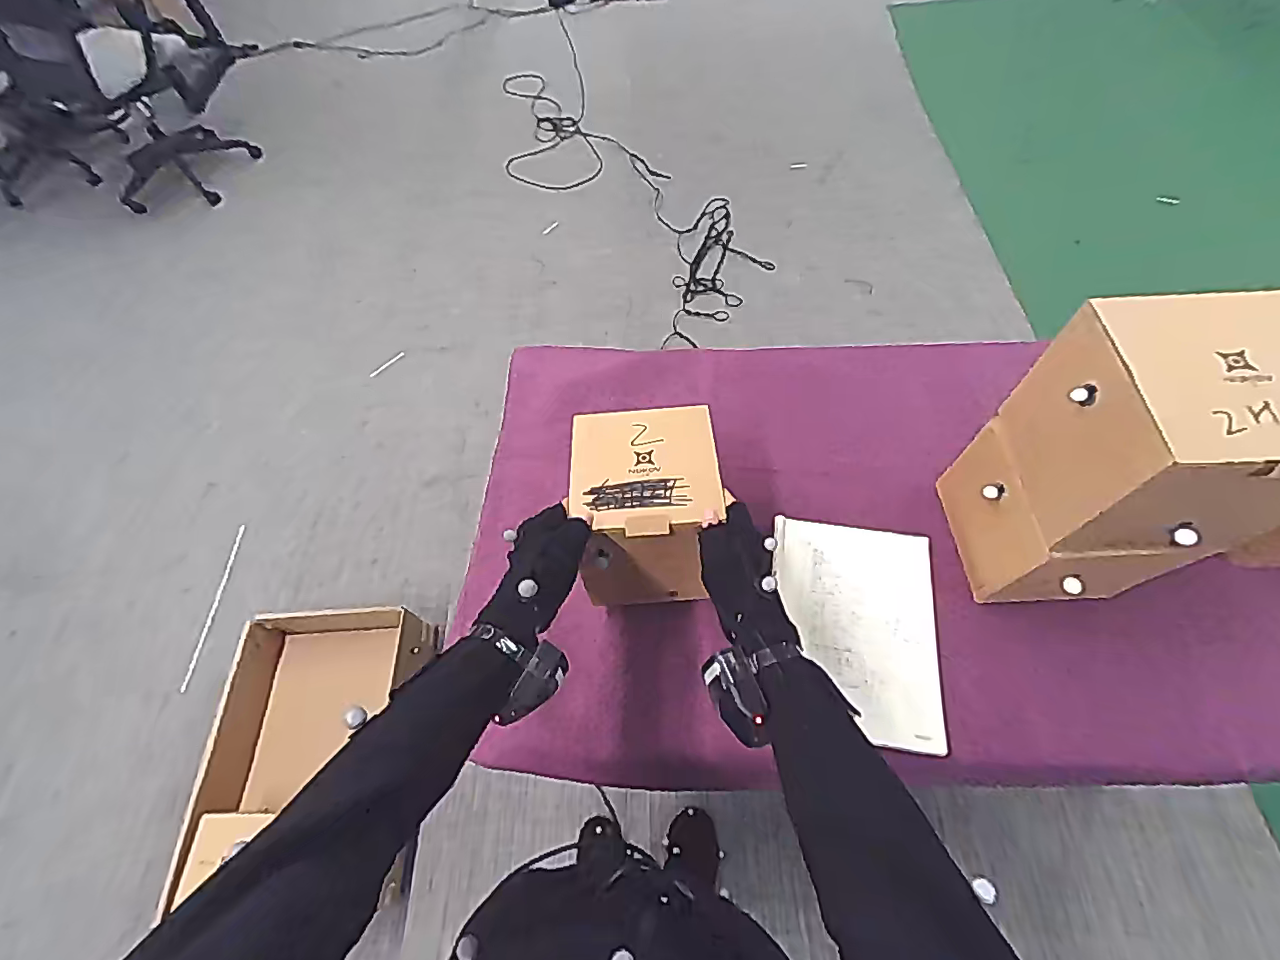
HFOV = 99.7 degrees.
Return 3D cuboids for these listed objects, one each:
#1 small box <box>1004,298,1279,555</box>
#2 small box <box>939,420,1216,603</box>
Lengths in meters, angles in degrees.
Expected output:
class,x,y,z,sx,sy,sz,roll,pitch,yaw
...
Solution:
class,x,y,z,sx,sy,sz,roll,pitch,yaw
small box,0.481,-0.044,0.504,0.168,0.176,0.179,-1,60,5
small box,0.491,0.042,0.644,0.168,0.176,0.179,-3,60,4
